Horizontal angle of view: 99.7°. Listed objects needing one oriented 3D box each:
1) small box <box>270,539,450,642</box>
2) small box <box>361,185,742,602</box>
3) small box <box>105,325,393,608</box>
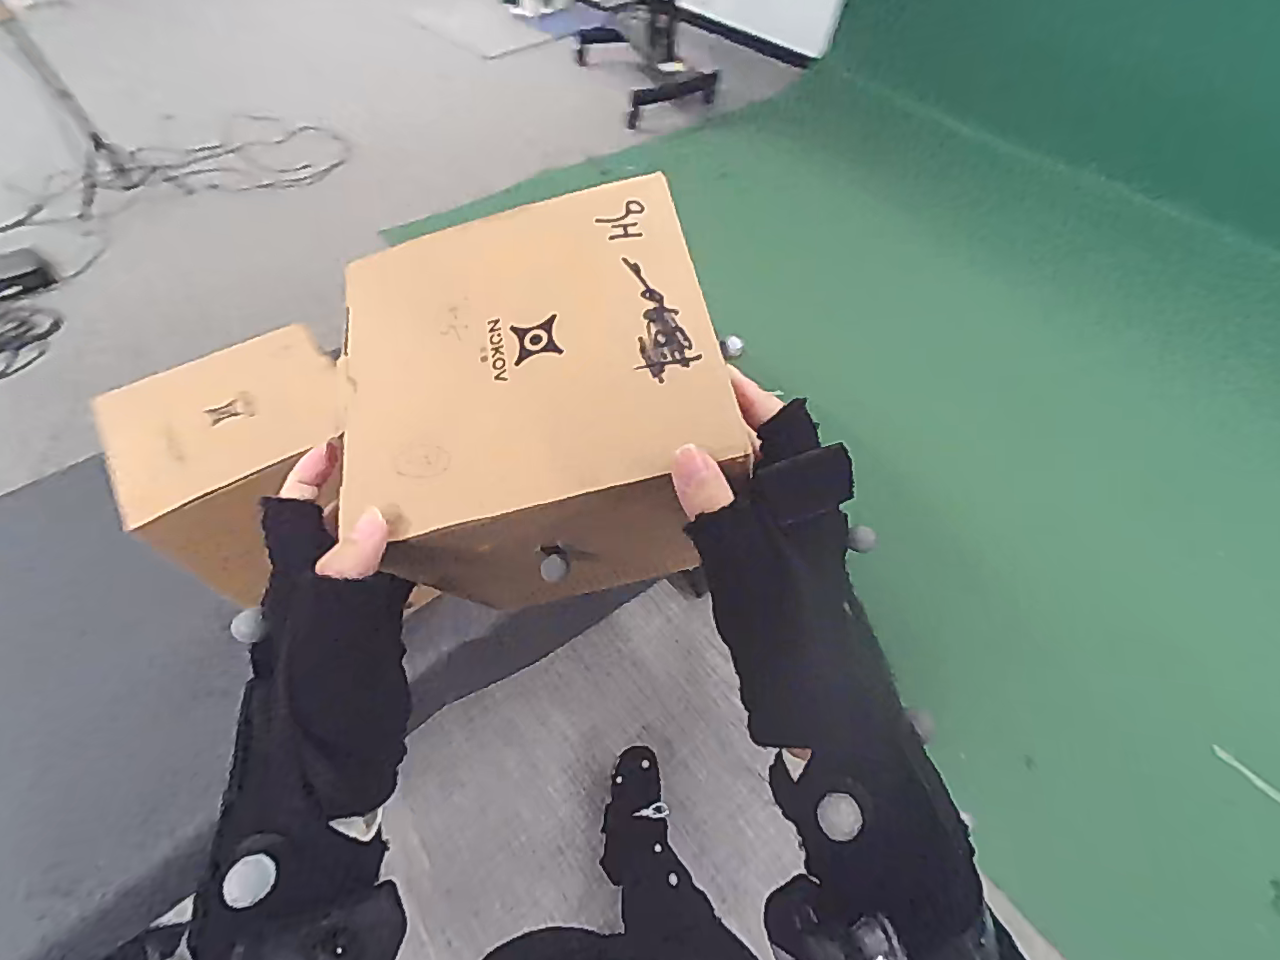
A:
[{"bbox_3d":[-0.362,0.076,0.663,0.168,0.176,0.179,-38,65,-24],"label":"small box"},{"bbox_3d":[-0.041,-0.035,0.336,0.179,0.176,0.168,-16,65,3],"label":"small box"},{"bbox_3d":[-0.345,-0.011,0.526,0.179,0.176,0.168,-33,60,-21],"label":"small box"}]
